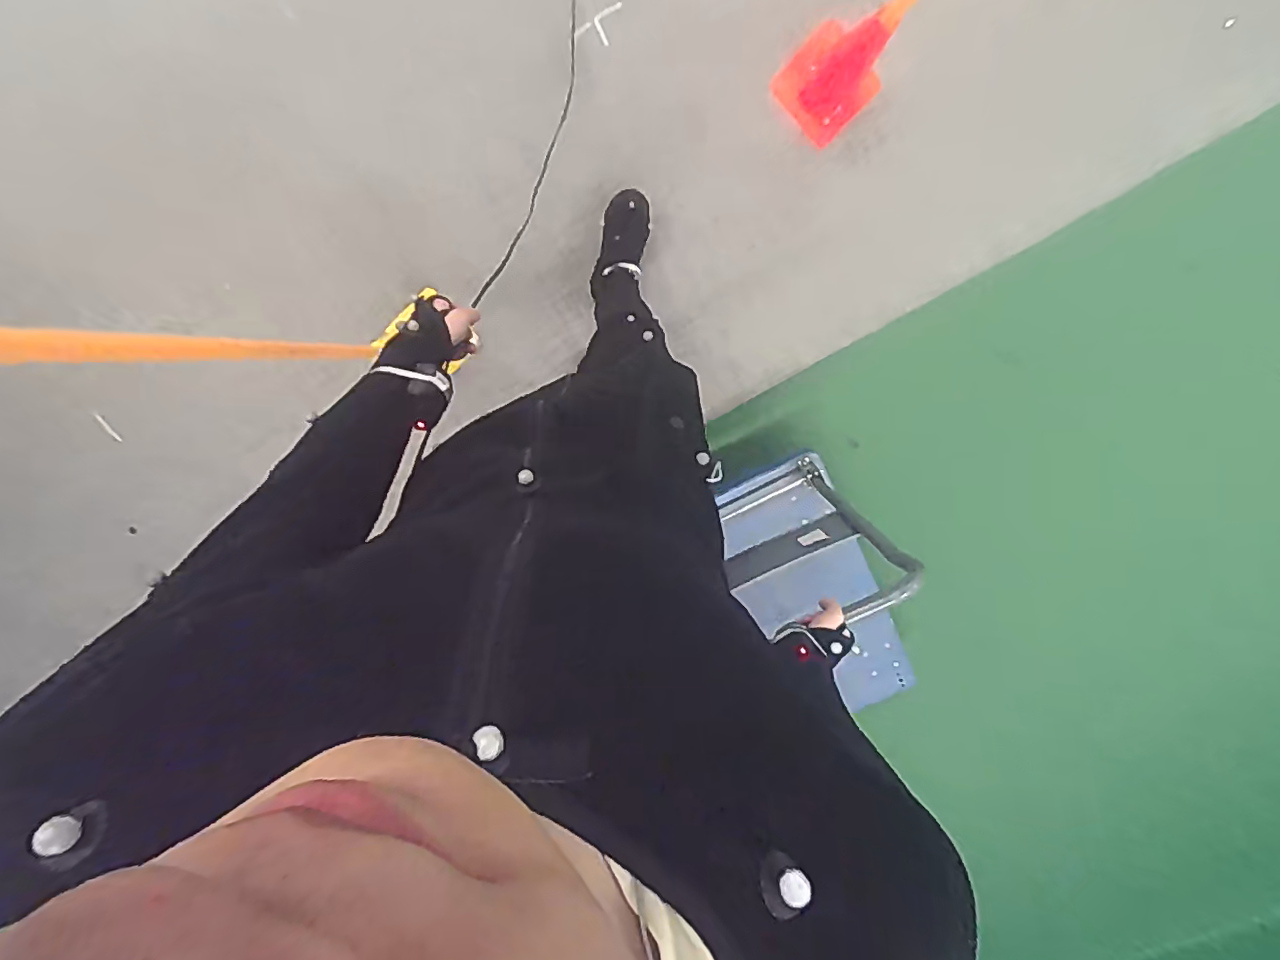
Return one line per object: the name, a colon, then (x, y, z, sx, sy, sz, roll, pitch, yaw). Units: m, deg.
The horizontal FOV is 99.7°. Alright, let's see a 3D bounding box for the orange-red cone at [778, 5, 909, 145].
orange-red cone: (0.463, -0.896, 1.140, 0.199, 0.360, 0.198, -44, 105, 12)
